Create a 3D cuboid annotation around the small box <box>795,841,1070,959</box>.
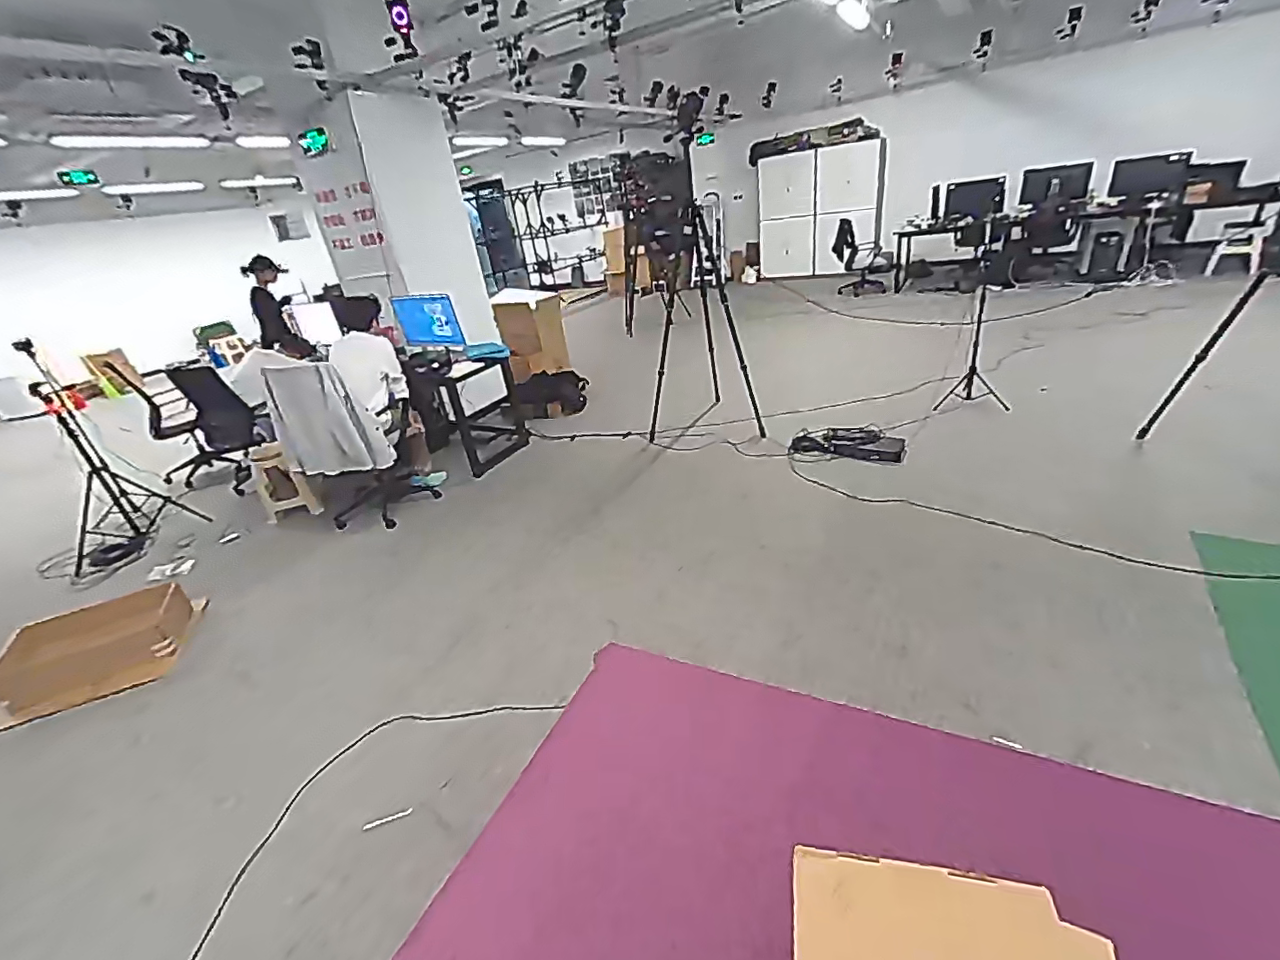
[{"bbox_3d":[0.191,0.388,0.369,0.168,0.176,0.179,-1,38,17],"label":"small box"}]
